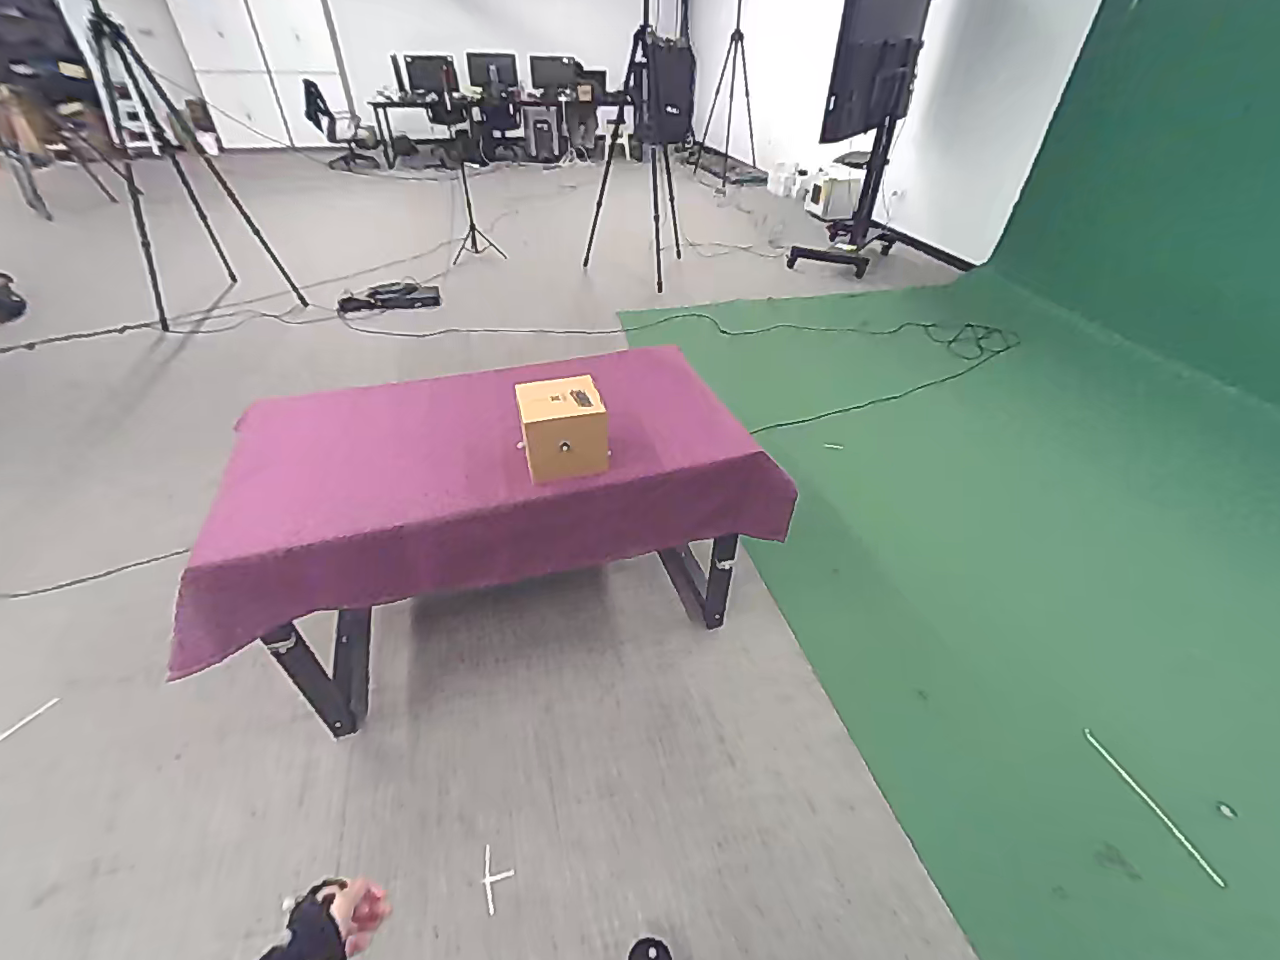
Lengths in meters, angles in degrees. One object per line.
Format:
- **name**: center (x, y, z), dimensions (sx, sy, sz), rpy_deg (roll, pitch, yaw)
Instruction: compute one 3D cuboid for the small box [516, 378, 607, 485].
- **small box**: center (-0.175, -0.110, 1.221), dimensions (0.179, 0.176, 0.168), rpy_deg (-10, 41, -12)
